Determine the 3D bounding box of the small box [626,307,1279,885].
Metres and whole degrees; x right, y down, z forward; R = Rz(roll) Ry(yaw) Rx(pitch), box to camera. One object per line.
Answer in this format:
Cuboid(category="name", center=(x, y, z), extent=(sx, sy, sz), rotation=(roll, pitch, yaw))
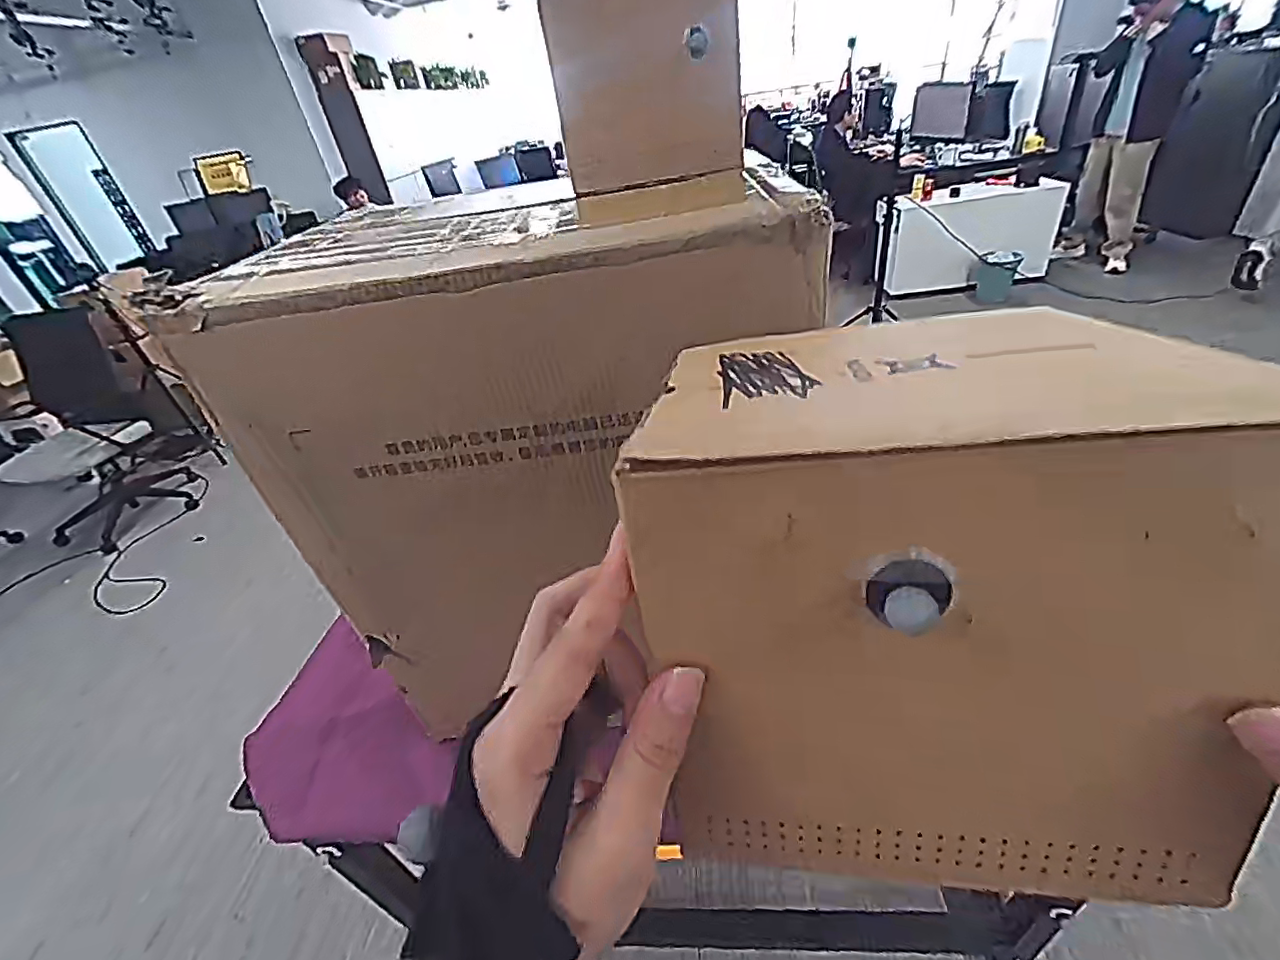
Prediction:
Cuboid(category="small box", center=(0.106, 0.032, 0.231), extent=(0.179, 0.176, 0.168), rotation=(-4, 24, 13))
